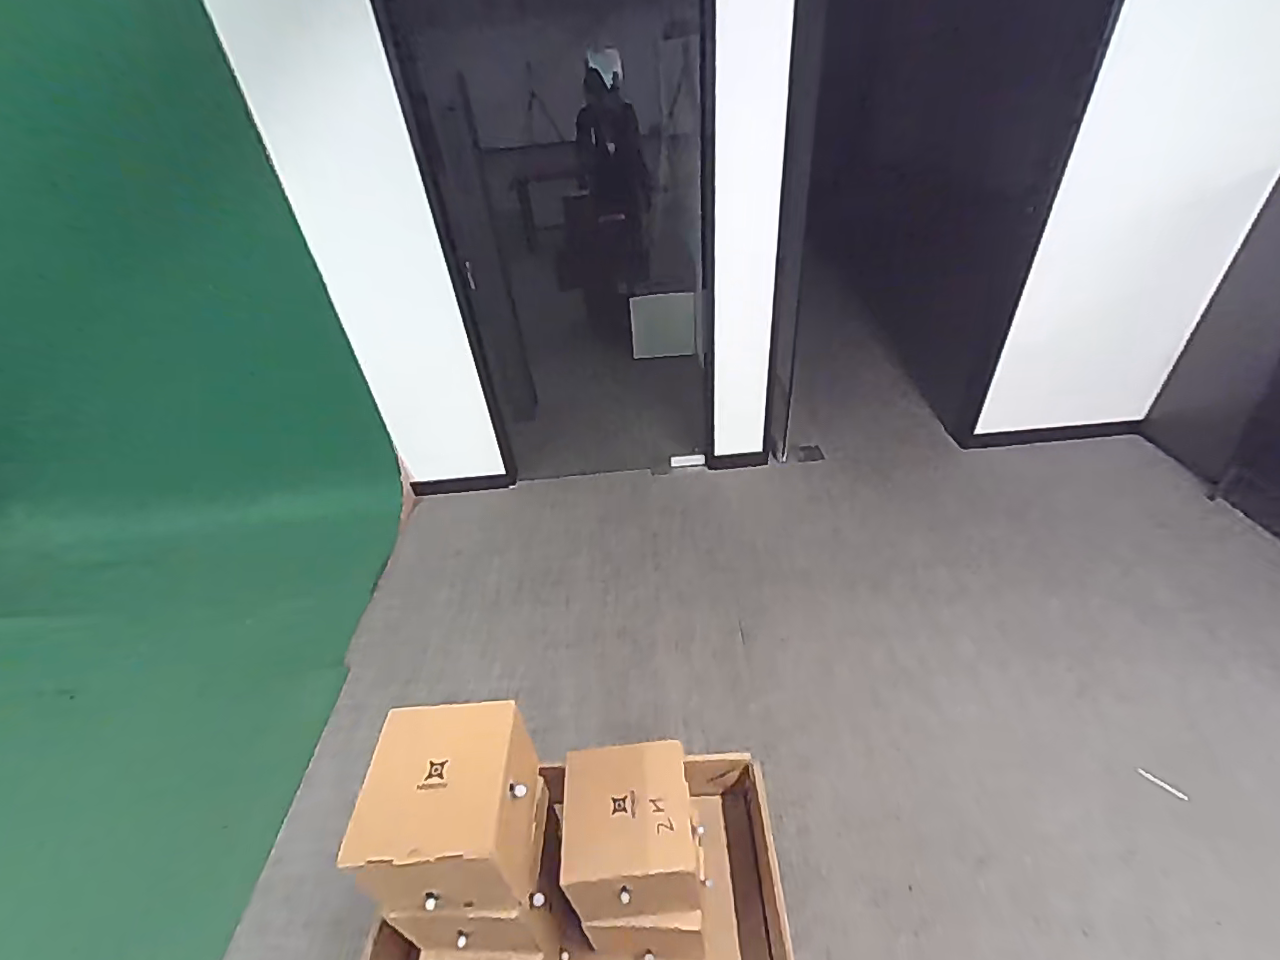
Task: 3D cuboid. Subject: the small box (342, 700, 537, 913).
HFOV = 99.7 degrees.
[{"bbox_3d":[-0.229,0.403,0.674,0.168,0.176,0.179,-5,38,1],"label":"small box"}]
